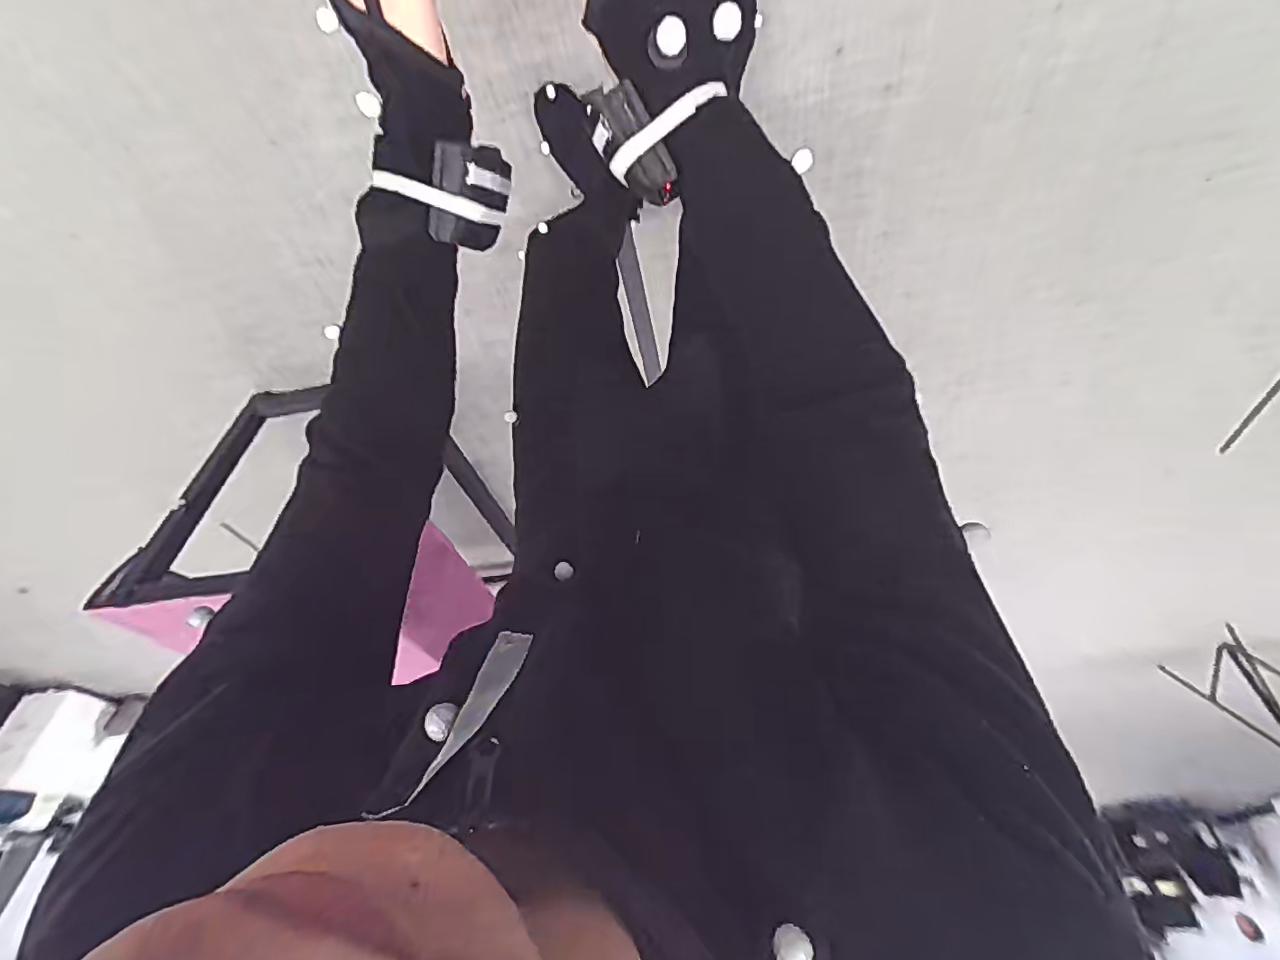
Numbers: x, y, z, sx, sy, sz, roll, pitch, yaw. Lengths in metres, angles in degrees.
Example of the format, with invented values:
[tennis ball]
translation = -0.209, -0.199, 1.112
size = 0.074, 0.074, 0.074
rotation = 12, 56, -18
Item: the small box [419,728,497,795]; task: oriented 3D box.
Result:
[small box]
translation = -0.606, 0.950, 1.823
size = 0.179, 0.176, 0.168
rotation = -10, 139, 12
